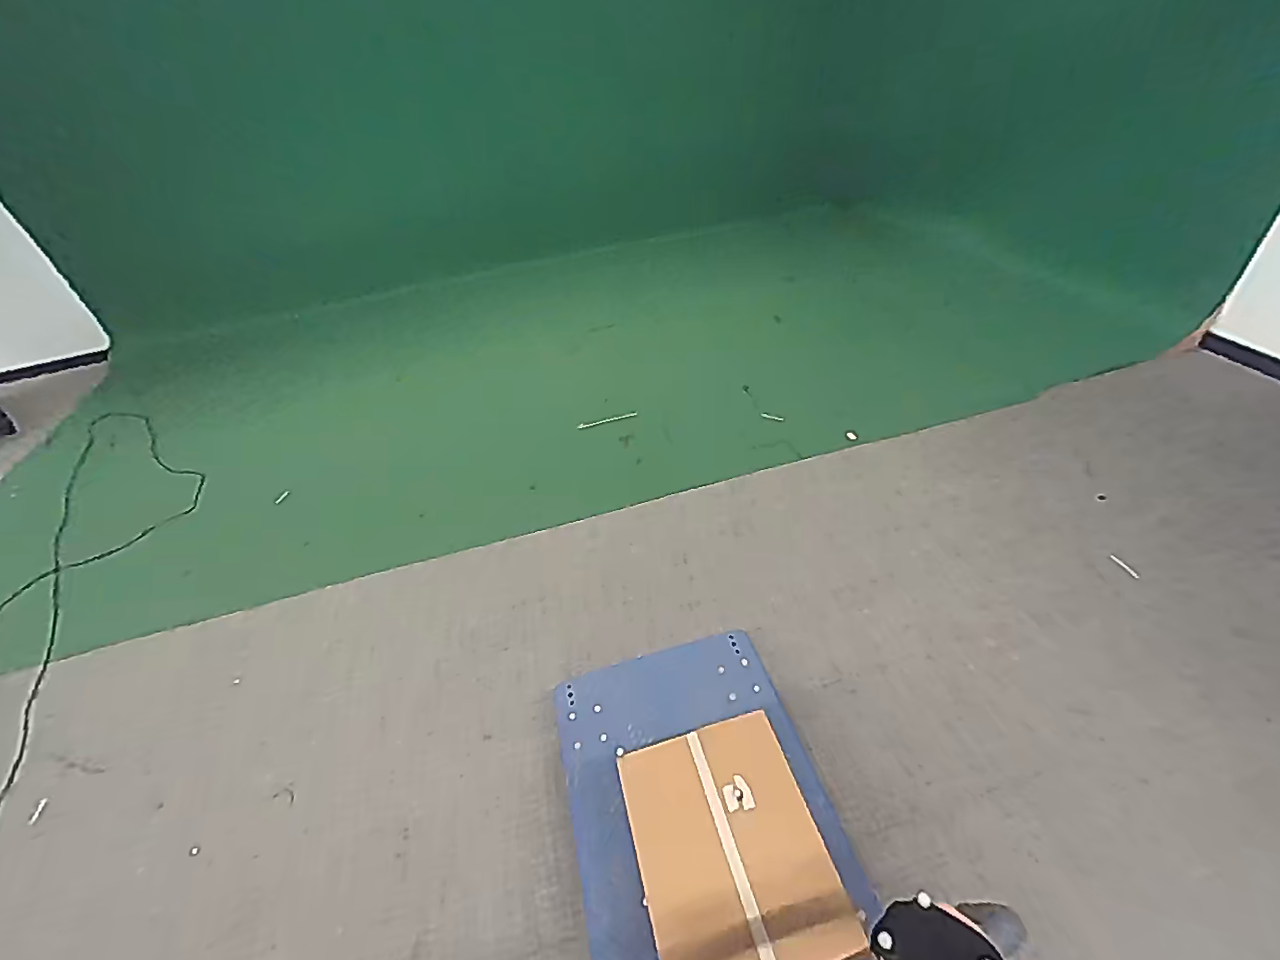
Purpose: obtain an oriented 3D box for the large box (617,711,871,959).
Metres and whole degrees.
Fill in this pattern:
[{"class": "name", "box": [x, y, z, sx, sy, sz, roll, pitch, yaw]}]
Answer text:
[{"class": "large box", "box": [0.173, 0.742, 1.031, 0.320, 0.320, 0.408, -15, 40, -7]}]
